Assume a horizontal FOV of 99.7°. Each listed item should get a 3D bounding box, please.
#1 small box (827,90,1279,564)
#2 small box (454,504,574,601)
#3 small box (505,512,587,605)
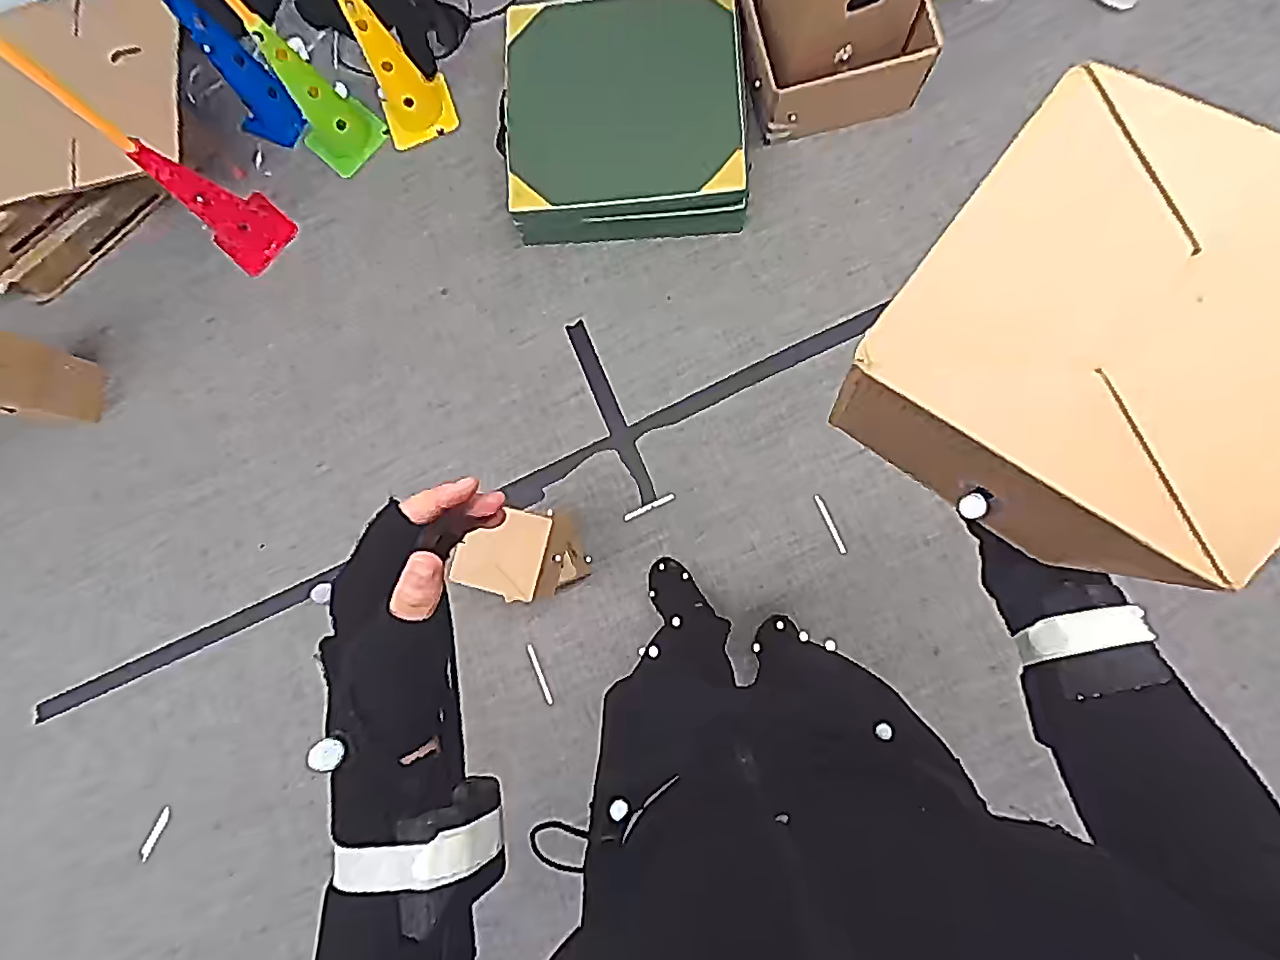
[{"bbox_3d":[0.232,-0.066,0.312,0.179,0.176,0.168,38,95,15],"label":"small box"},{"bbox_3d":[-0.259,0.152,1.137,0.179,0.176,0.168,12,83,8],"label":"small box"},{"bbox_3d":[-0.237,0.186,1.300,0.179,0.176,0.168,-22,80,4],"label":"small box"}]
